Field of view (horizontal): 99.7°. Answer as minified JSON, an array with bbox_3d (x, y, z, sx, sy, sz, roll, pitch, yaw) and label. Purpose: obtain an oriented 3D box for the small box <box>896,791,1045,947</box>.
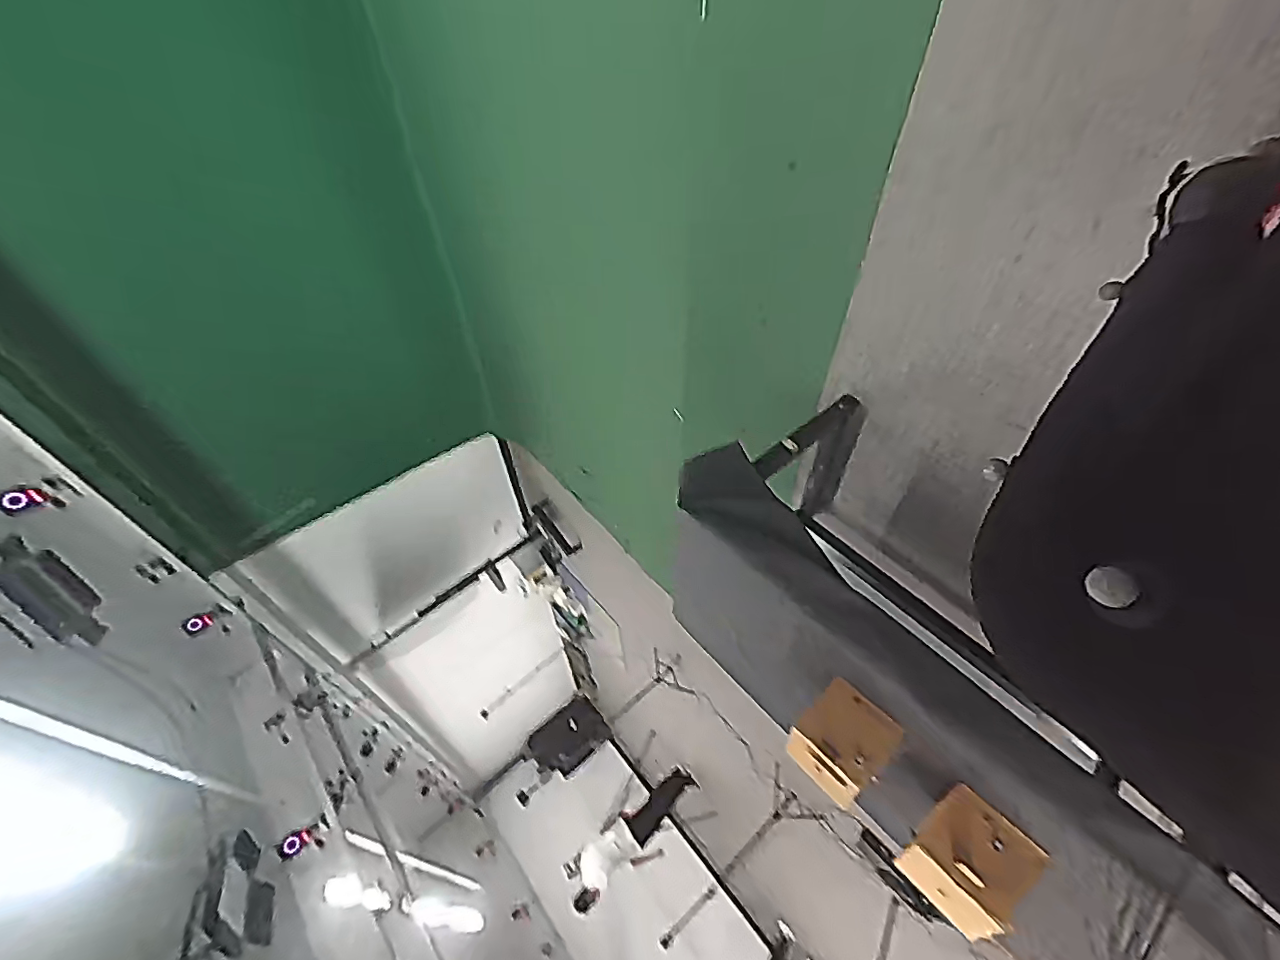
[{"bbox_3d":[0.638,0.751,1.051,0.168,0.176,0.179,39,149,36],"label":"small box"}]
